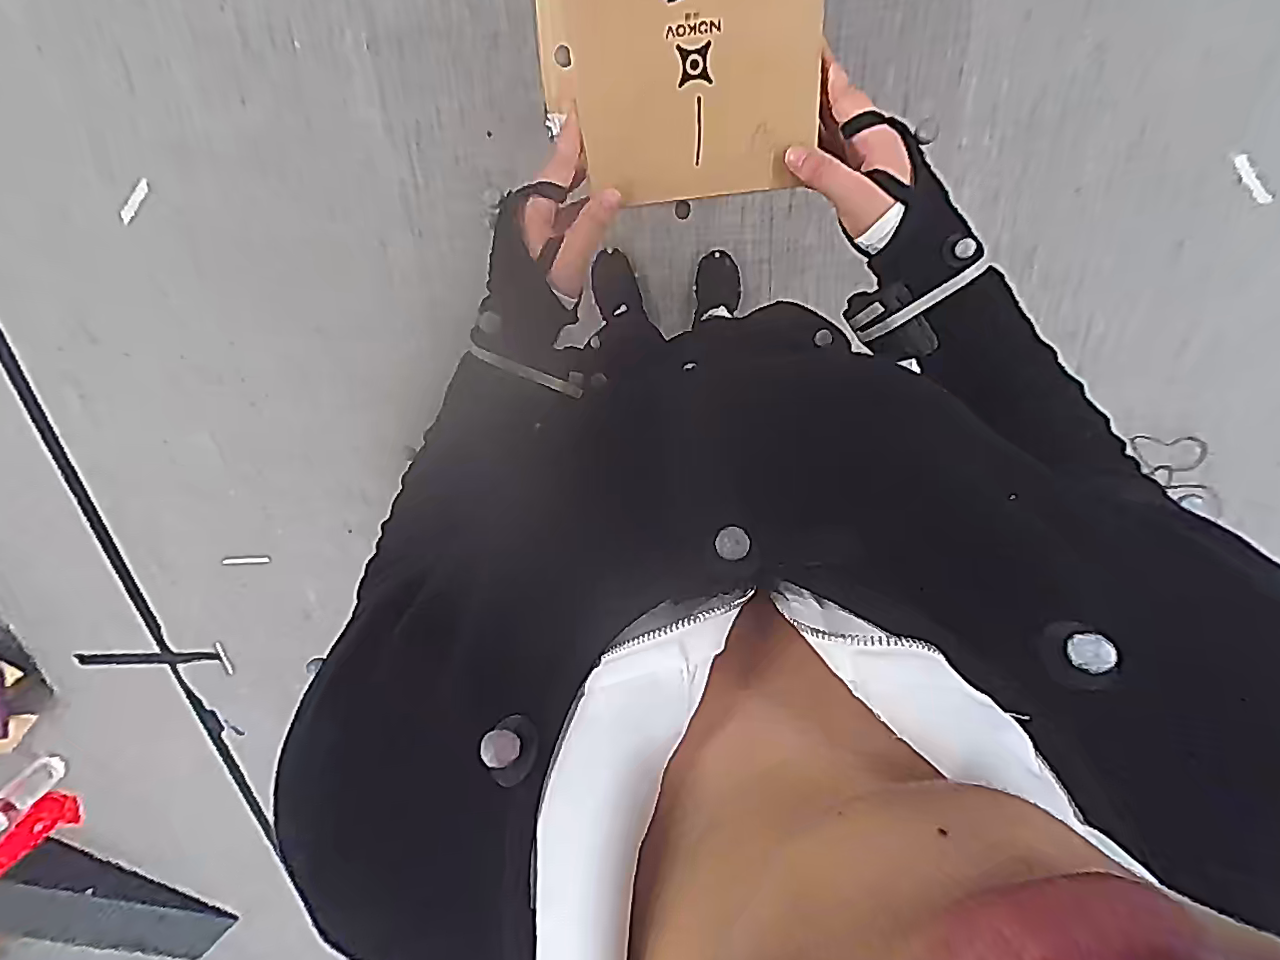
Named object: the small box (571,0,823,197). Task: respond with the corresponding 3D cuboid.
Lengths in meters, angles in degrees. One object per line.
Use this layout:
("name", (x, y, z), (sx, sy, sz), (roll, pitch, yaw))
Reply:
("small box", (0.036, -0.327, 0.424), (0.168, 0.176, 0.179), (-5, 119, 2))
